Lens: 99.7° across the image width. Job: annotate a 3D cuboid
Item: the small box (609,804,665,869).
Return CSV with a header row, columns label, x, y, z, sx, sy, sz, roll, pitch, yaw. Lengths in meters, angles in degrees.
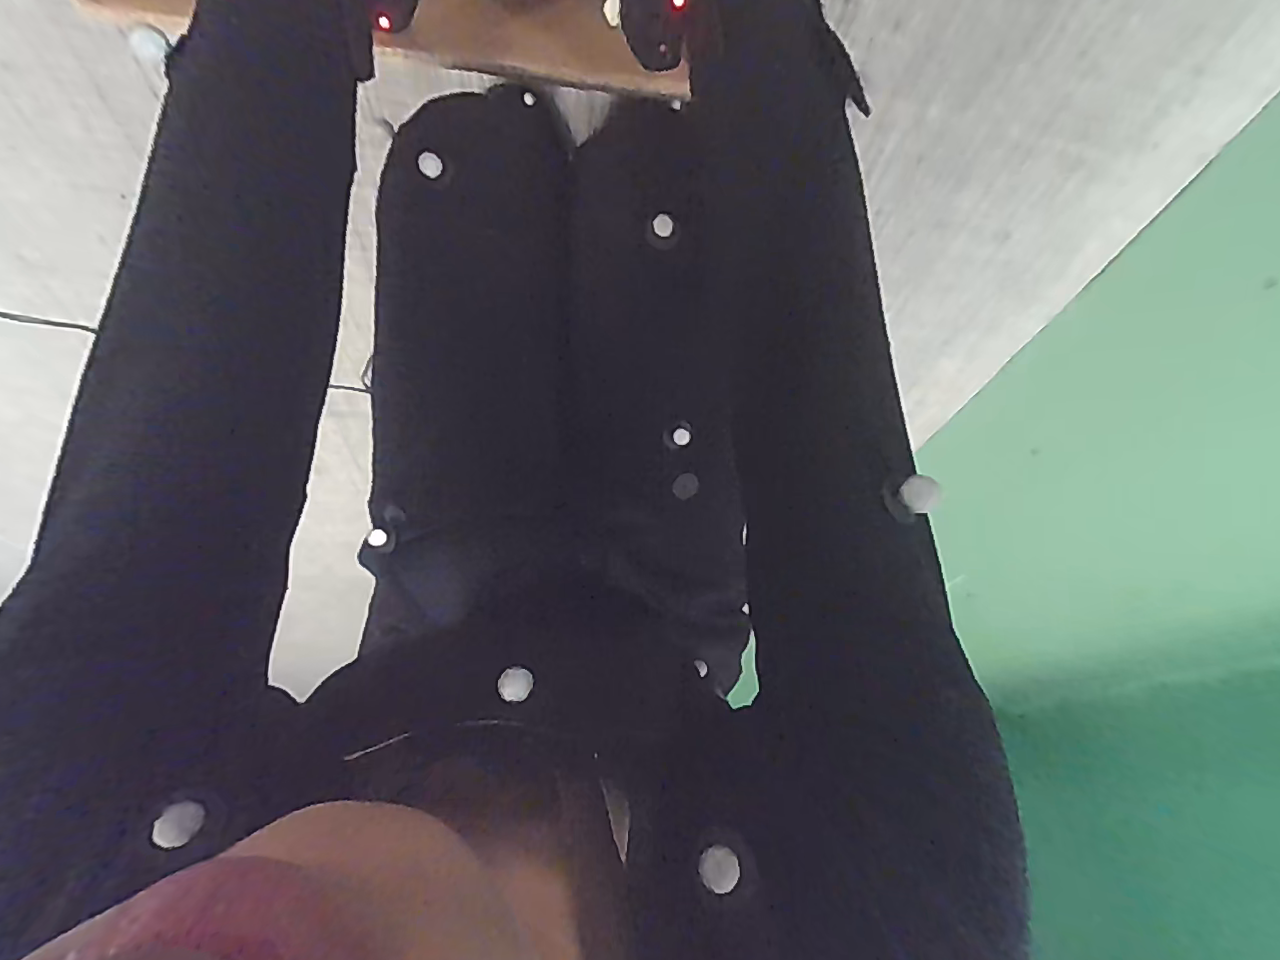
label,x,y,z,sx,sy,sz,roll,pitch,yaw
small box,-0.014,1.171,1.782,0.168,0.176,0.179,3,149,-6
